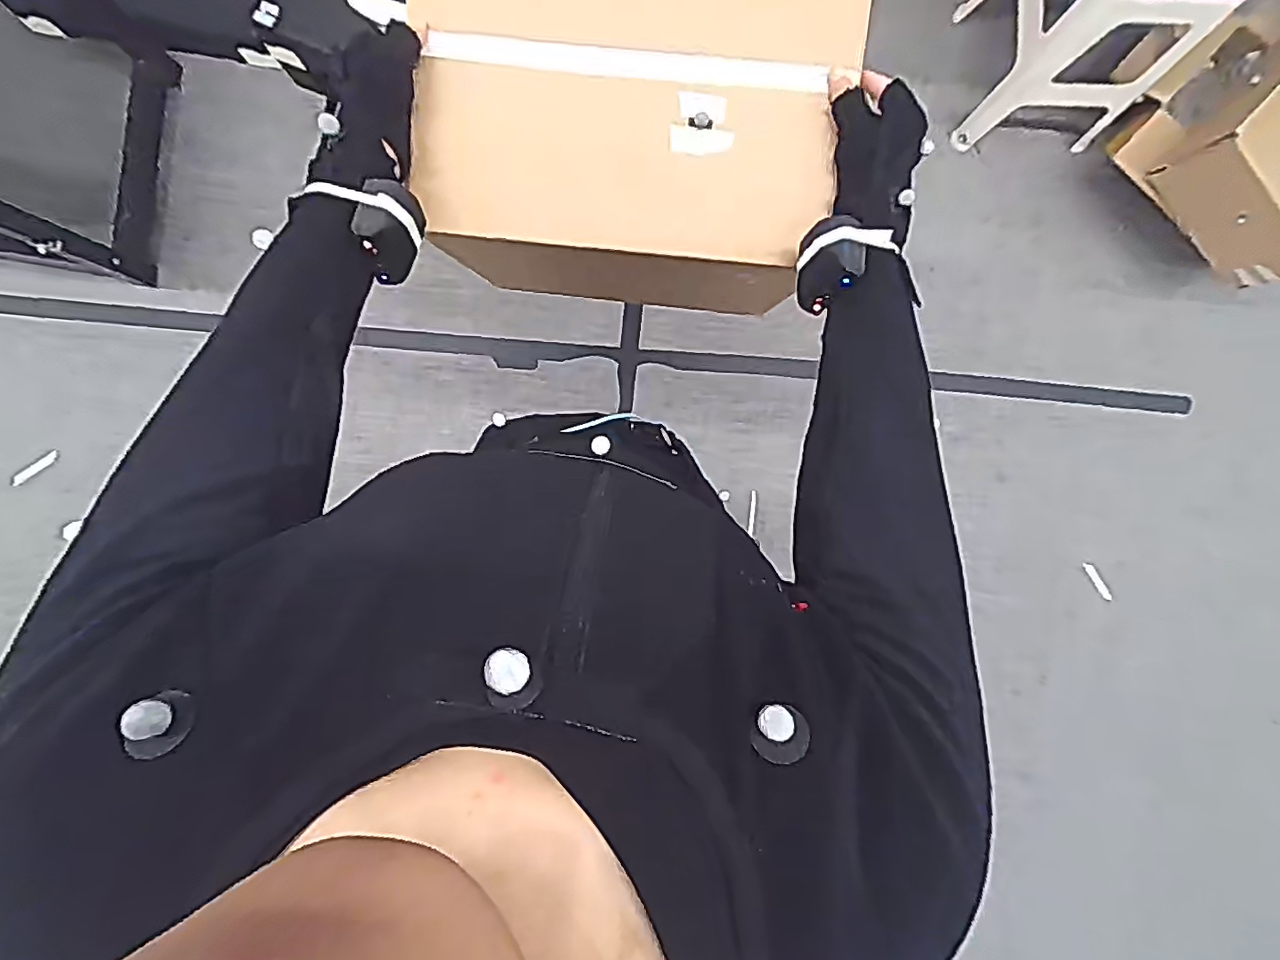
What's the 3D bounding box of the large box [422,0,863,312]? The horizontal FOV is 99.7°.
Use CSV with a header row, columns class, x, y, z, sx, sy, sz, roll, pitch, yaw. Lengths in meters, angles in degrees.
class,x,y,z,sx,sy,sz,roll,pitch,yaw
large box,-0.002,-0.395,0.646,0.408,0.320,0.320,5,100,-1
